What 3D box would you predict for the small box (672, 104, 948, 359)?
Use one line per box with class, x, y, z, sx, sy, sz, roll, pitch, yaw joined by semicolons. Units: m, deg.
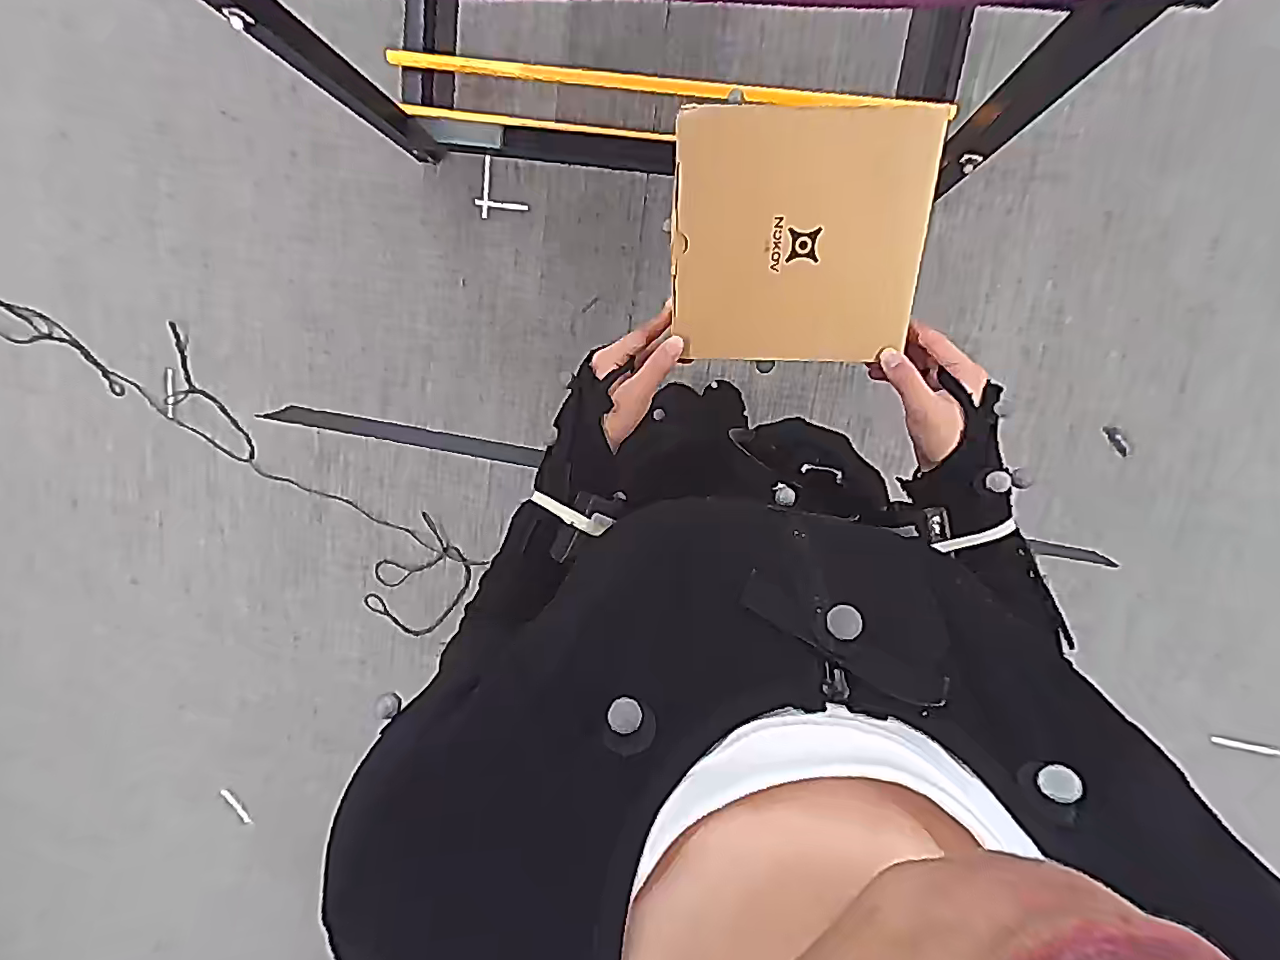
small box;0.118;-0.202;0.456;0.179;0.176;0.168;2;113;4
